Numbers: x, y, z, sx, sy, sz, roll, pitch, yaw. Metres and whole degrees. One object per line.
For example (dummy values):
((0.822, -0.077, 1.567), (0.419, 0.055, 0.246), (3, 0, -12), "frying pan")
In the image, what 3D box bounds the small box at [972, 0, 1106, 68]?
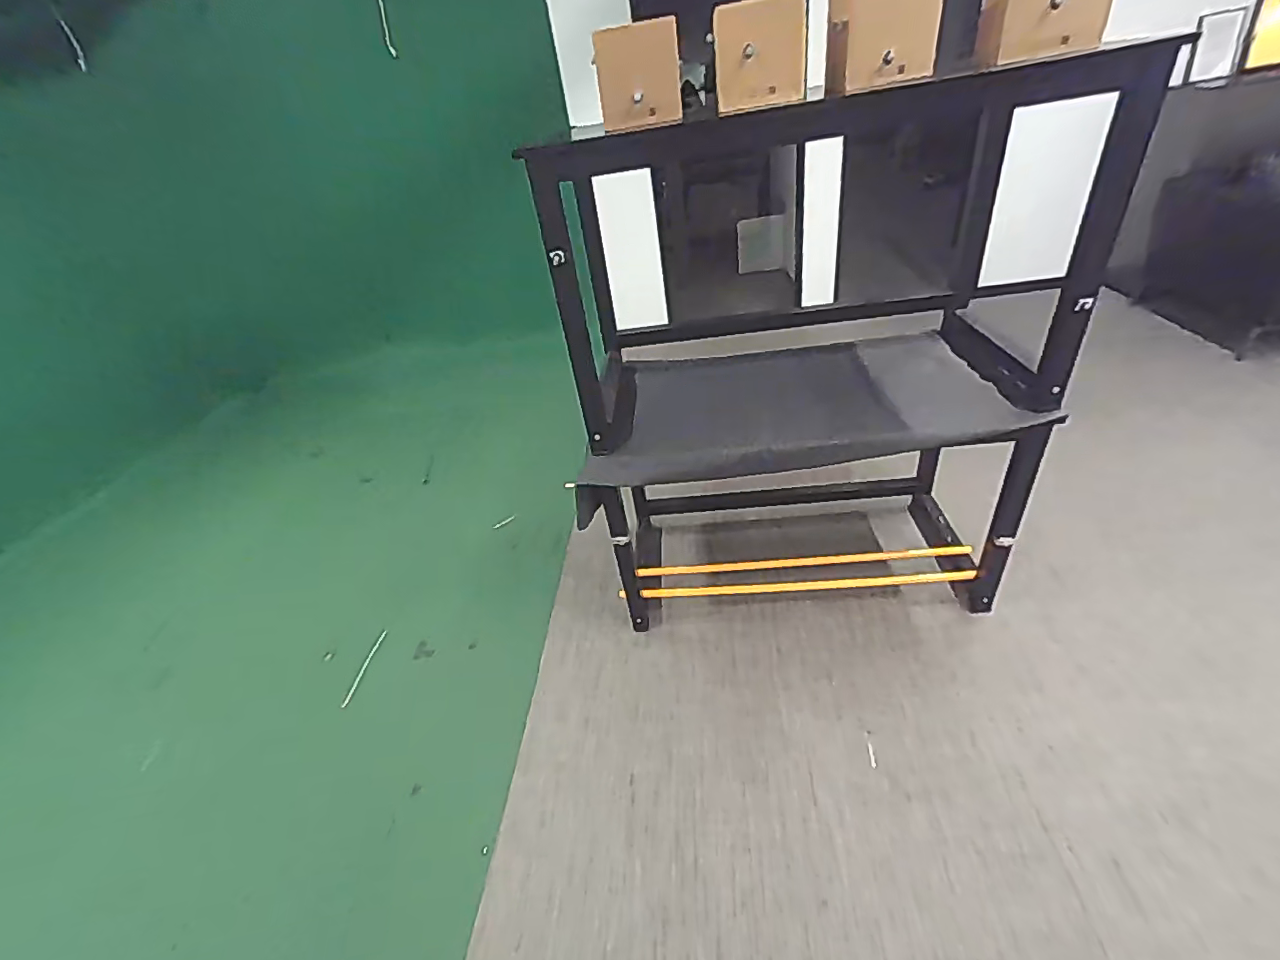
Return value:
((0.739, -0.883, 1.000), (0.168, 0.176, 0.179), (1, 36, 16), "small box")

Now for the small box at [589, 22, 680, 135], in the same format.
((-0.007, -0.844, 1.149), (0.168, 0.176, 0.179), (-8, 36, 5), "small box")

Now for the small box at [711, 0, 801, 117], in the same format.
((0.234, -0.852, 1.100), (0.168, 0.176, 0.179), (-4, 35, 9), "small box")
